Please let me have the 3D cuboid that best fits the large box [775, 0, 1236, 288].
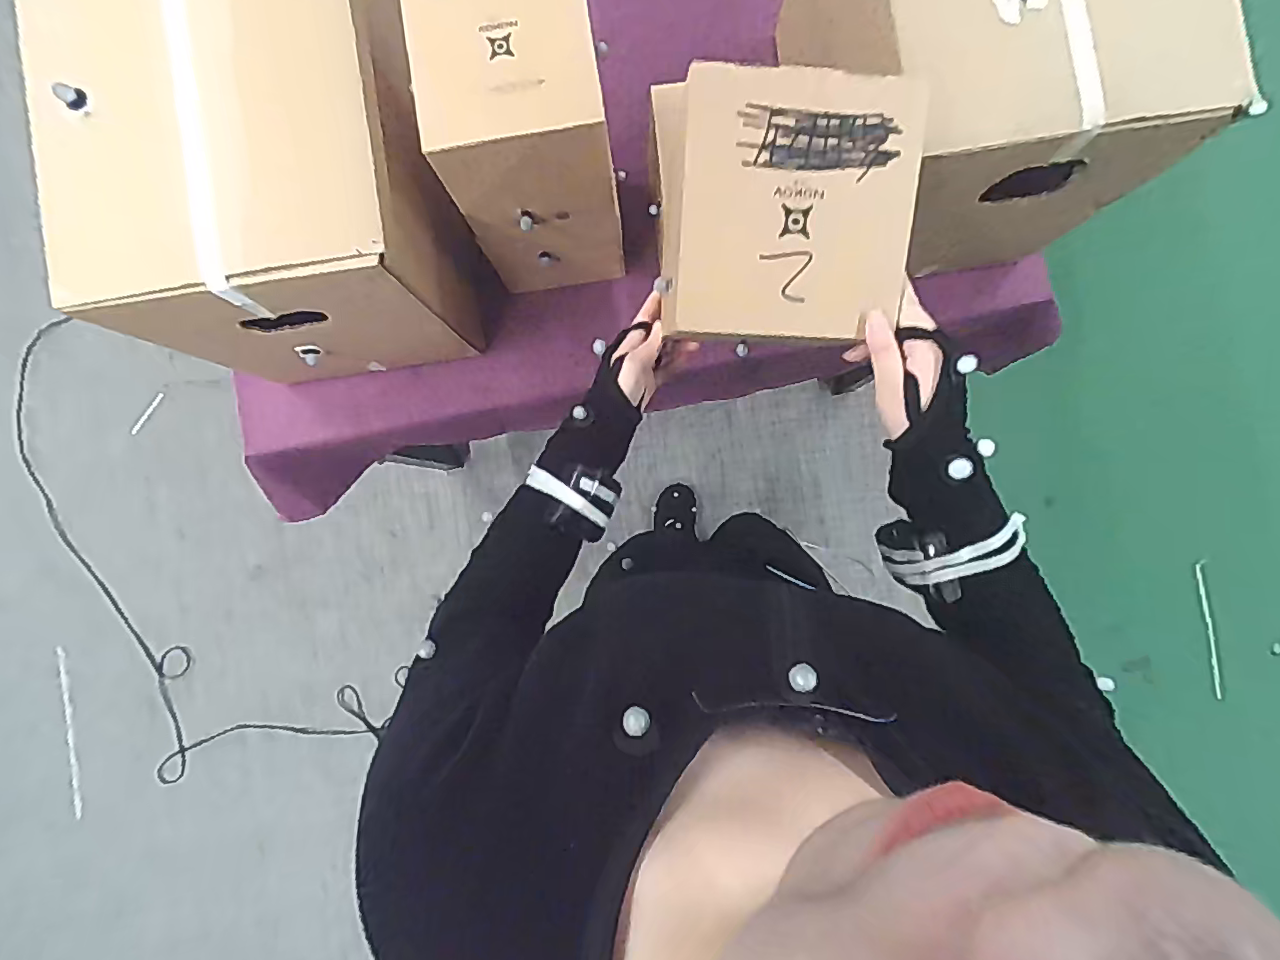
[{"bbox_3d":[0.381,-0.502,0.662,0.320,0.320,0.408,-8,88,0],"label":"large box"}]
